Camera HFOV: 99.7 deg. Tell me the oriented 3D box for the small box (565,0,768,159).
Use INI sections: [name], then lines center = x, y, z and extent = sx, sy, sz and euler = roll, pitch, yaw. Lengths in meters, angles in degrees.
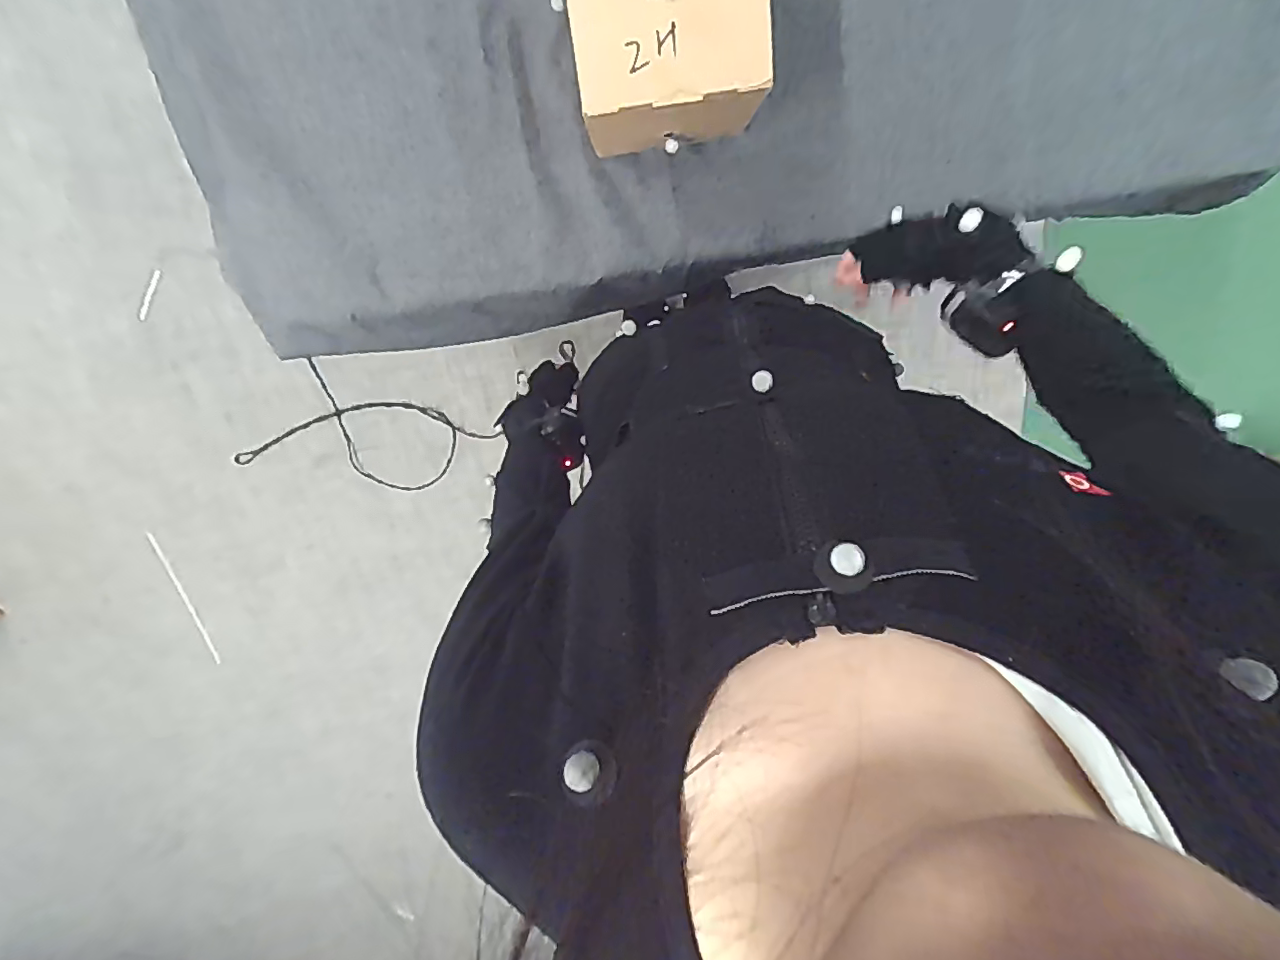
[small box]
center = 0.018, -0.429, 0.511
extent = 0.168, 0.176, 0.179
euler = -7, 111, 3
